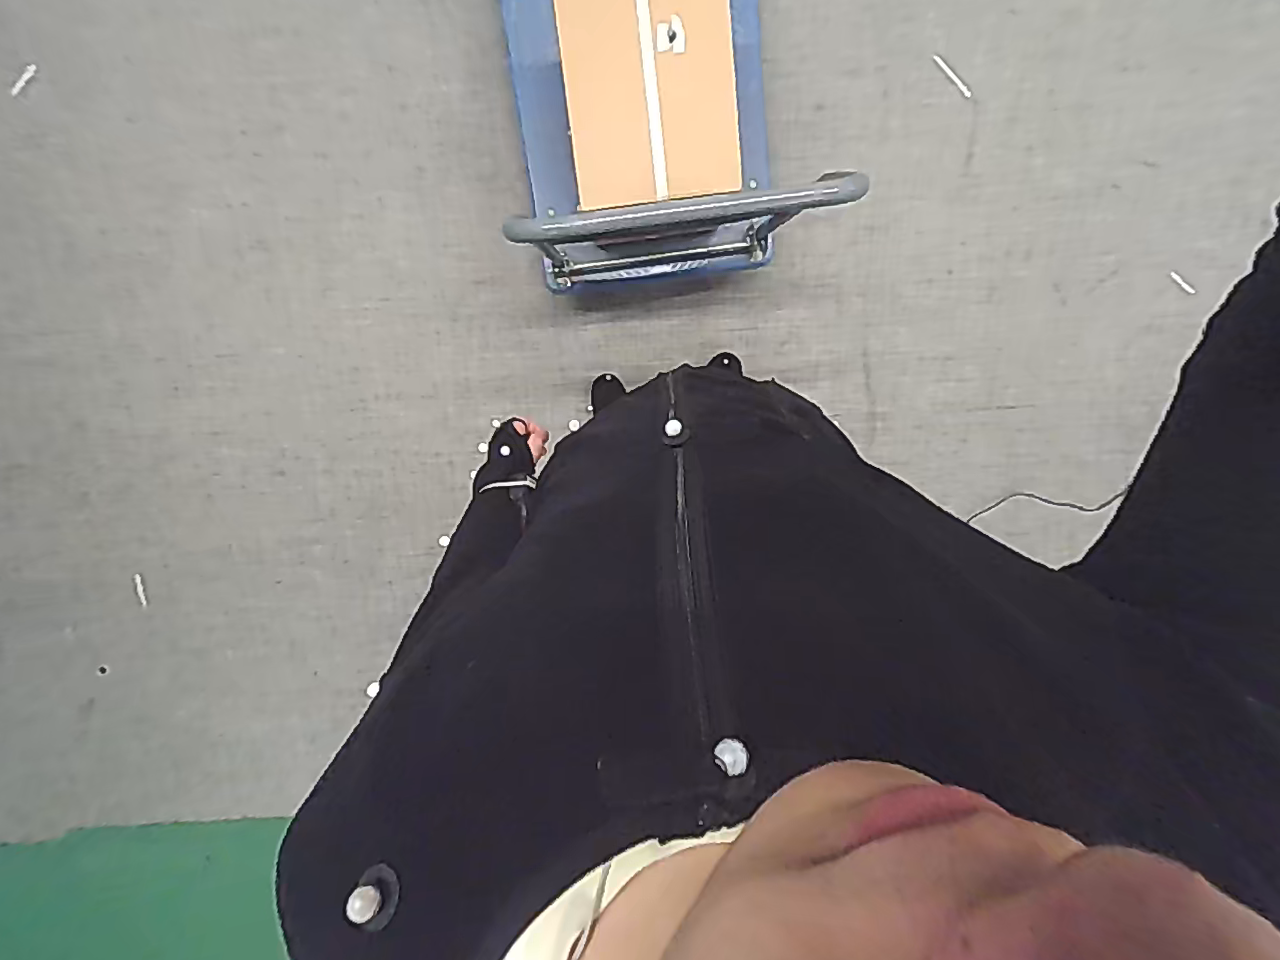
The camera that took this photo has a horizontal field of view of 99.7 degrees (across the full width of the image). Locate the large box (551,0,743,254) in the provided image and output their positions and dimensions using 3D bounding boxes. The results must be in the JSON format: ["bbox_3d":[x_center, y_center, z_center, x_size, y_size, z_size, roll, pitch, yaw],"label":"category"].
[{"bbox_3d":[0.020,-0.738,1.141,0.320,0.320,0.408,-7,101,1],"label":"large box"}]
